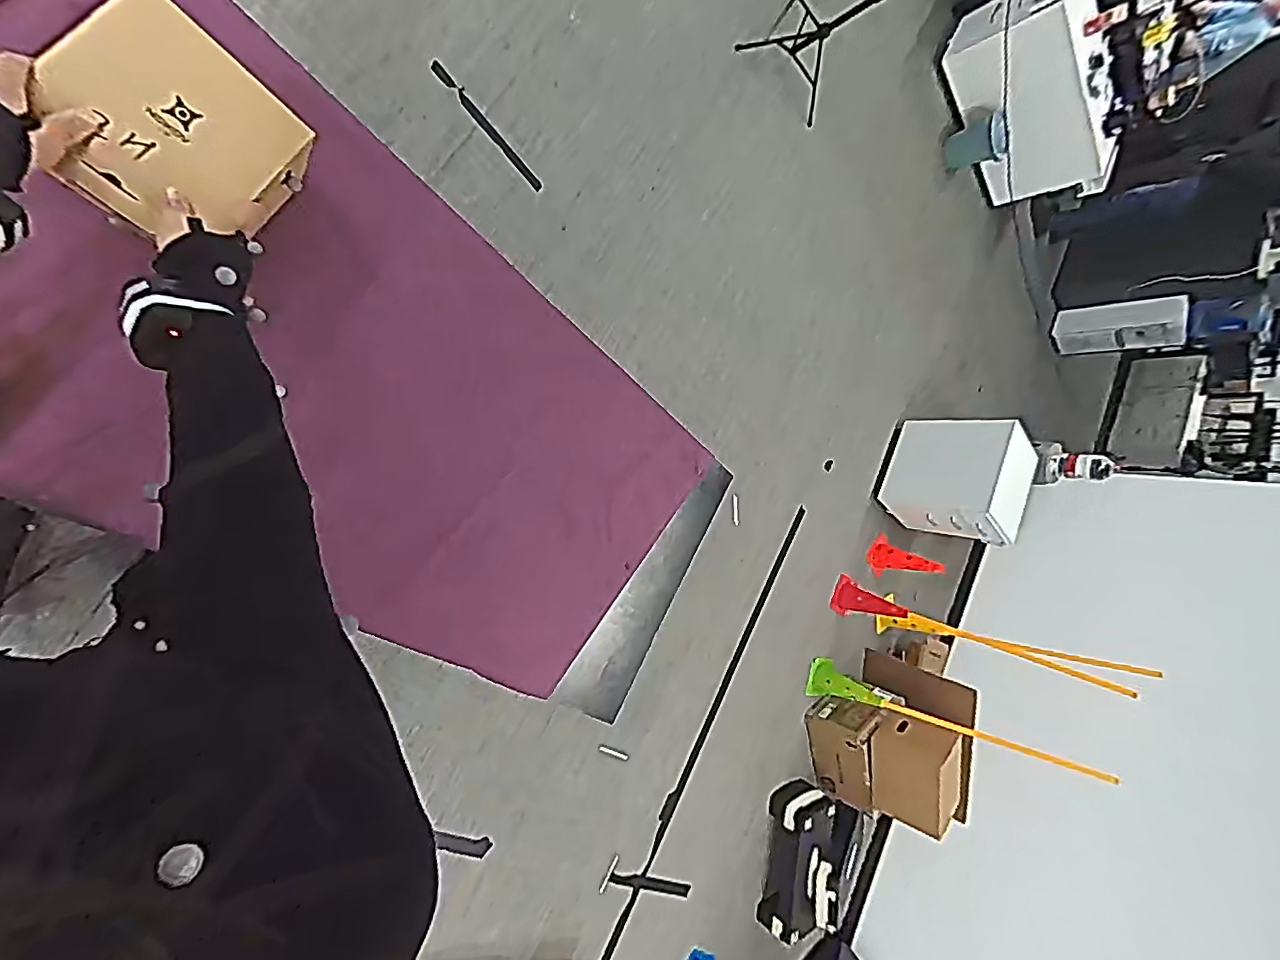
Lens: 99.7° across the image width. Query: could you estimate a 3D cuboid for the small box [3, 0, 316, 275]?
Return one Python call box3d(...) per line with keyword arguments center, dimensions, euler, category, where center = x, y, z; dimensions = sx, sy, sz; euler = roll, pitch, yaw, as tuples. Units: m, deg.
box3d(center=(-0.489, -0.352, 0.578), dimensions=(0.168, 0.176, 0.179), euler=(40, 71, -33), category="small box")
